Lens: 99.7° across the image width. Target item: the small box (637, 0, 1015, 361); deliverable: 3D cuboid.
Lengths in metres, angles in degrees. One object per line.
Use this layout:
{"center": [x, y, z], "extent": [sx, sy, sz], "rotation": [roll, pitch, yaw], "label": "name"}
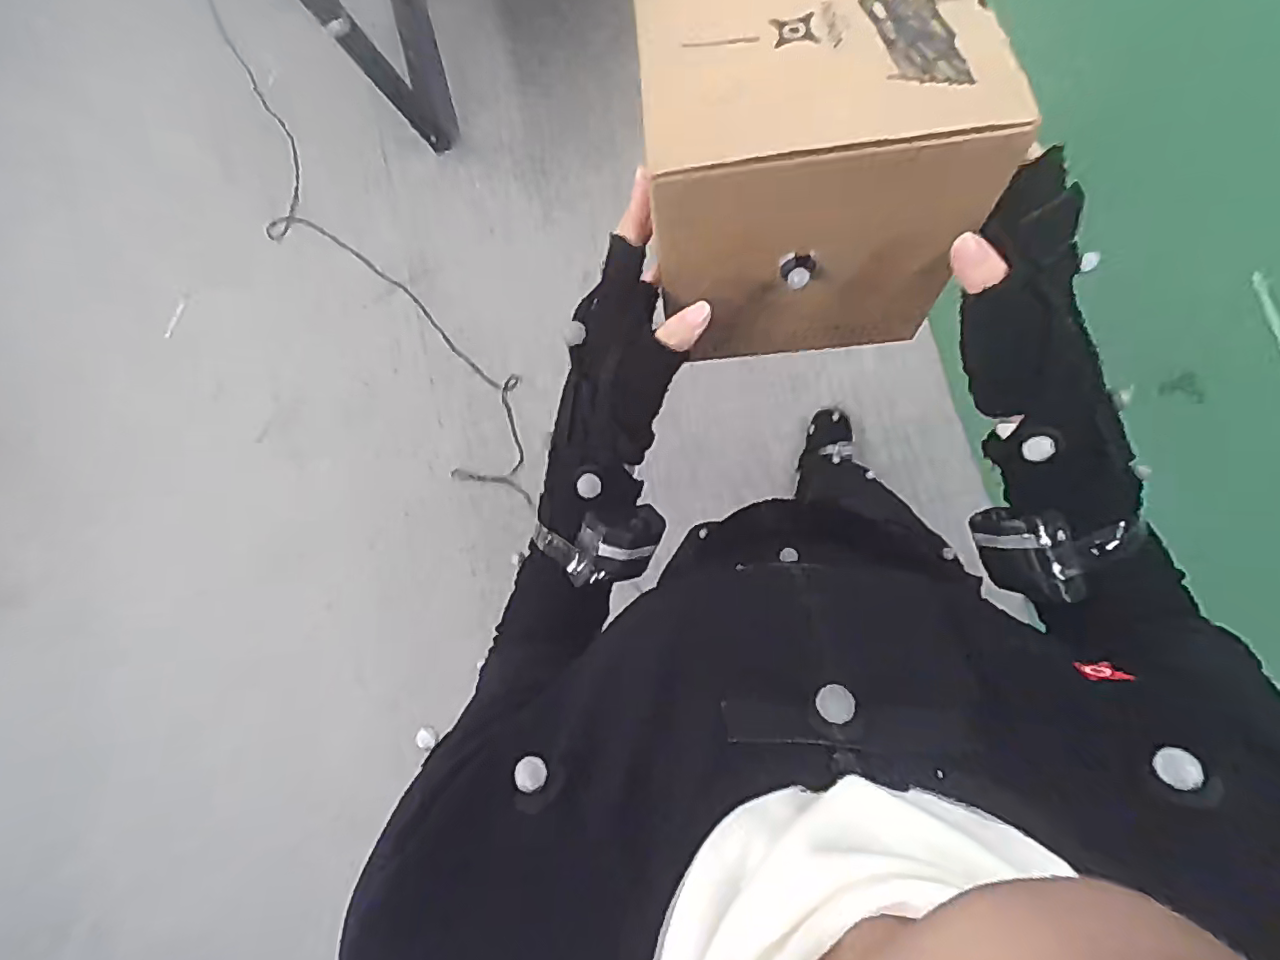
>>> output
{"center": [0.096, -0.199, 0.361], "extent": [0.179, 0.176, 0.168], "rotation": [-5, 69, 6], "label": "small box"}
